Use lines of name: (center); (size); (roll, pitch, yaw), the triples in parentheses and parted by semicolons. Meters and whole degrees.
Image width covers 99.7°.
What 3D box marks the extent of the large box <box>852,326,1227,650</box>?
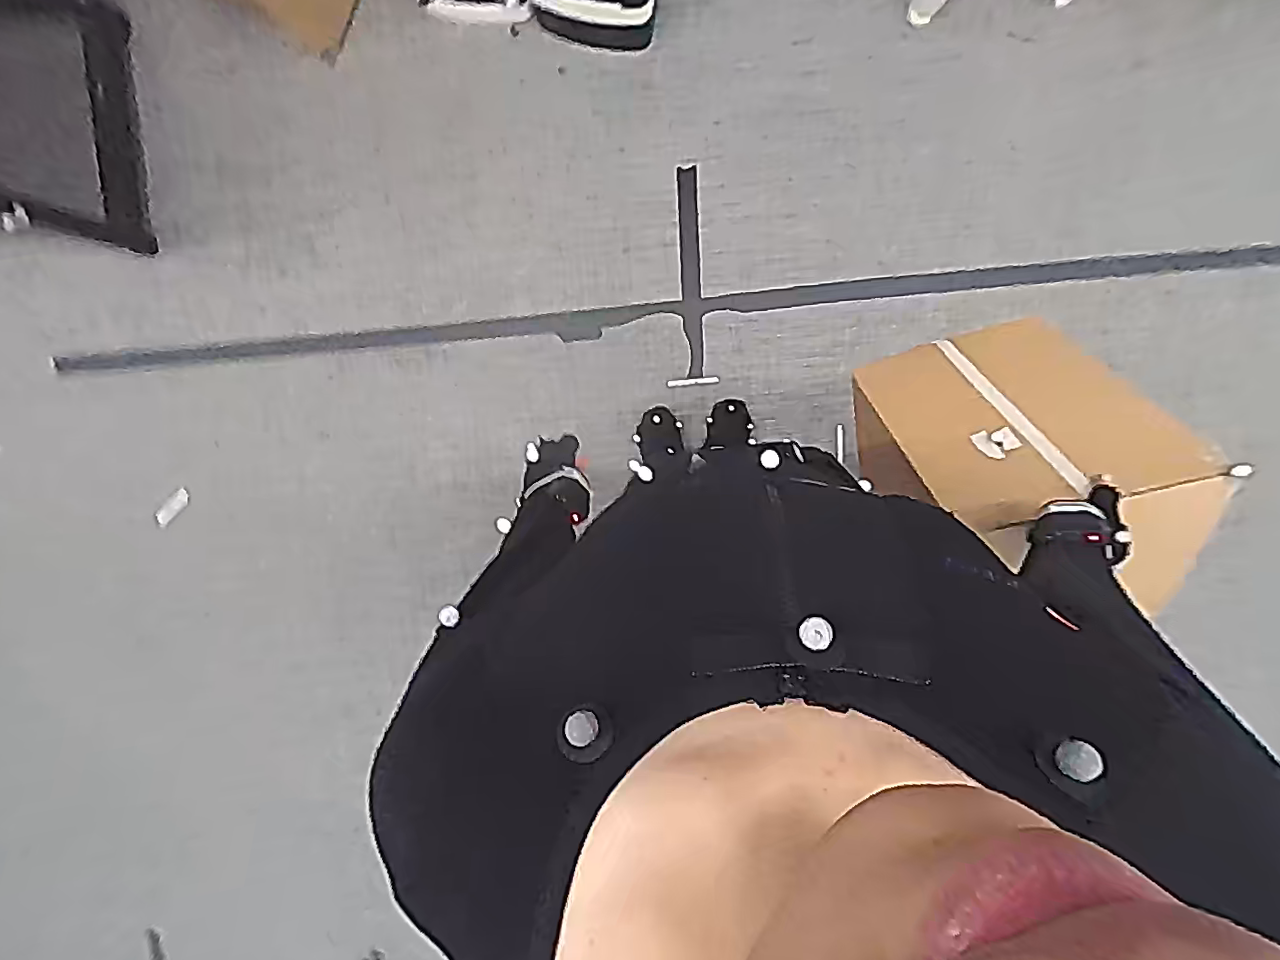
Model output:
large box: (0.585, 0.009, 0.909); (0.320, 0.408, 0.320); (-17, 133, 10)
